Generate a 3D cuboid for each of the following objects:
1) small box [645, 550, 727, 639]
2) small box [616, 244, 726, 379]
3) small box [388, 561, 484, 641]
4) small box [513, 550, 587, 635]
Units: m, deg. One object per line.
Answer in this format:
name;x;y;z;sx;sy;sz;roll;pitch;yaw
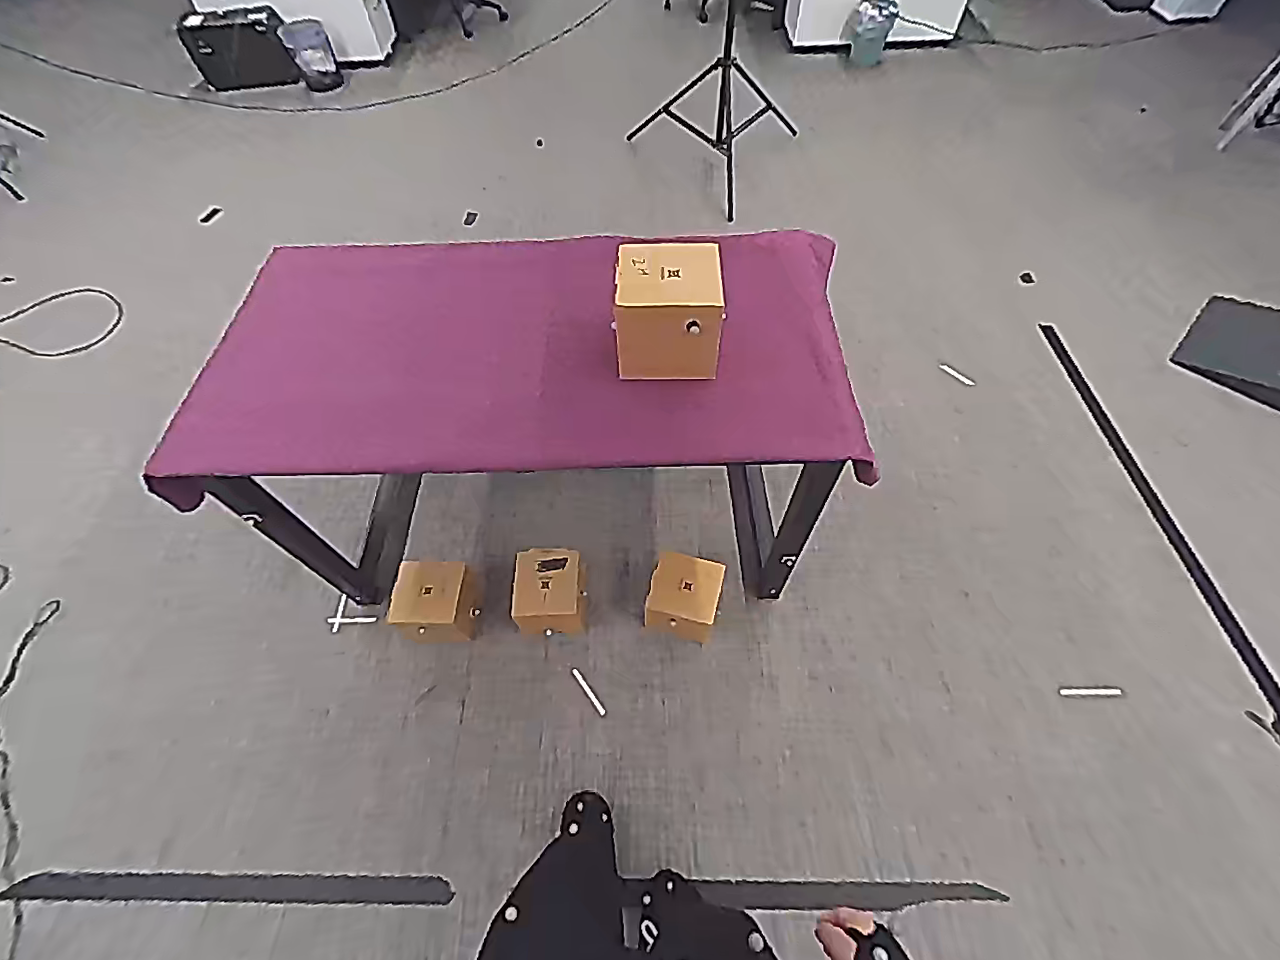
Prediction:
small box;0.123;0.310;1.438;0.179;0.176;0.168;13;59;11
small box;0.053;-0.294;0.959;0.179;0.176;0.168;0;56;3
small box;-0.539;0.327;1.451;0.179;0.176;0.168;1;58;2
small box;-0.234;0.304;1.453;0.168;0.176;0.179;-2;58;1
